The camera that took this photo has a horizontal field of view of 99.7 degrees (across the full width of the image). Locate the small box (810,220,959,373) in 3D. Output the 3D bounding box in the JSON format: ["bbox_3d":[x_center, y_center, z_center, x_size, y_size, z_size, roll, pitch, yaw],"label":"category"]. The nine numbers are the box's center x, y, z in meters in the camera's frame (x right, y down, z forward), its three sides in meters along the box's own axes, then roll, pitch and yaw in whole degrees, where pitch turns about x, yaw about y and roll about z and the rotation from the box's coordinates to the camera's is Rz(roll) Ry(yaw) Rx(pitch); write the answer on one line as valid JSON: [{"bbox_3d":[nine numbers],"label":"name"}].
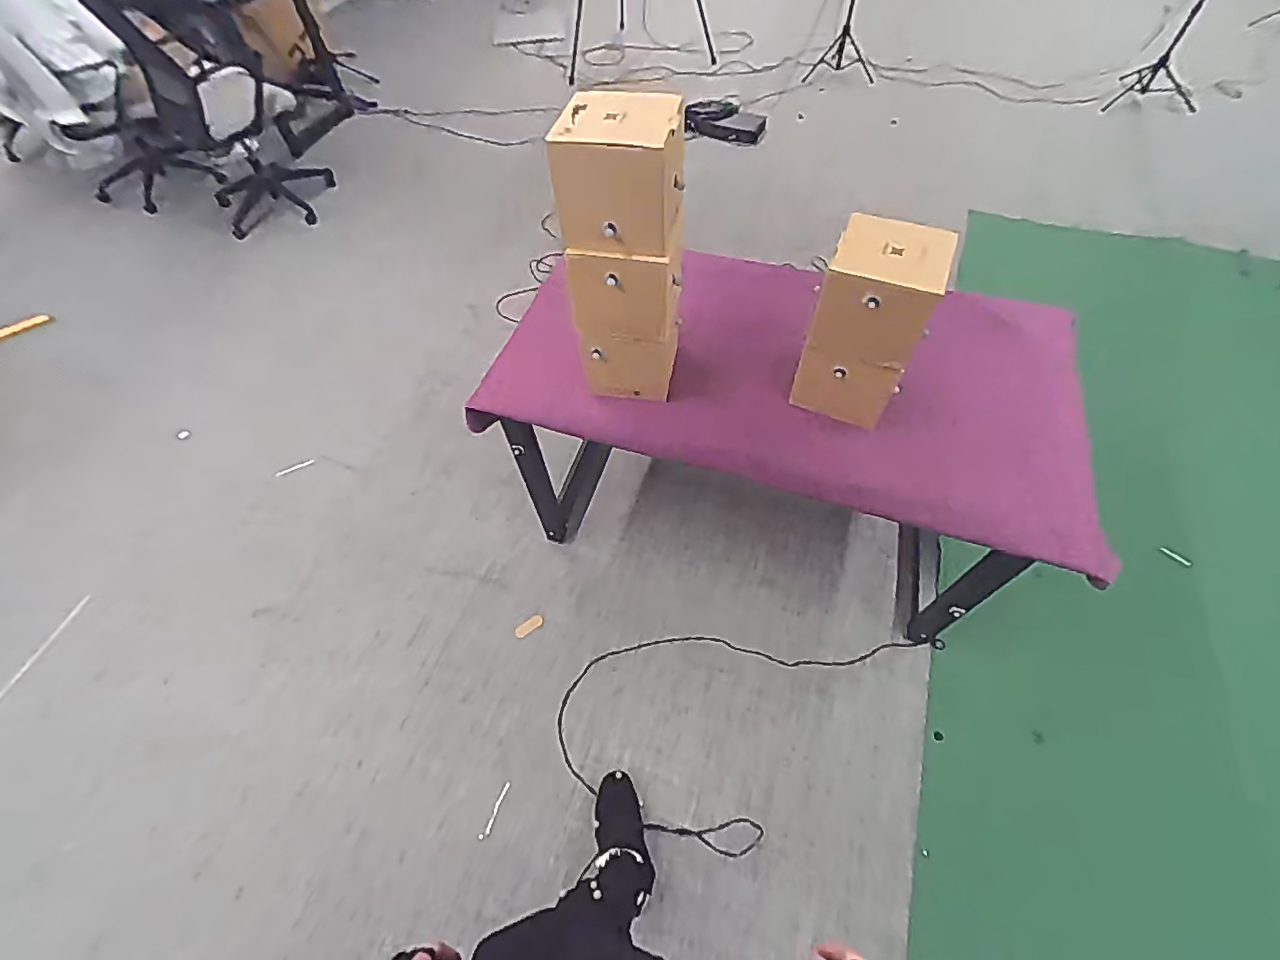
[{"bbox_3d":[0.410,-0.311,0.930,0.179,0.176,0.168,21,61,15],"label":"small box"}]

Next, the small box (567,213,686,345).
[{"bbox_3d":[-0.017,-0.368,0.985,0.179,0.176,0.168,9,57,9],"label":"small box"}]

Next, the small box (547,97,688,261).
[{"bbox_3d":[-0.028,-0.473,0.859,0.179,0.176,0.168,10,56,9],"label":"small box"}]

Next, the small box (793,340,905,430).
[{"bbox_3d":[0.419,-0.225,1.068,0.179,0.176,0.168,22,61,15],"label":"small box"}]
